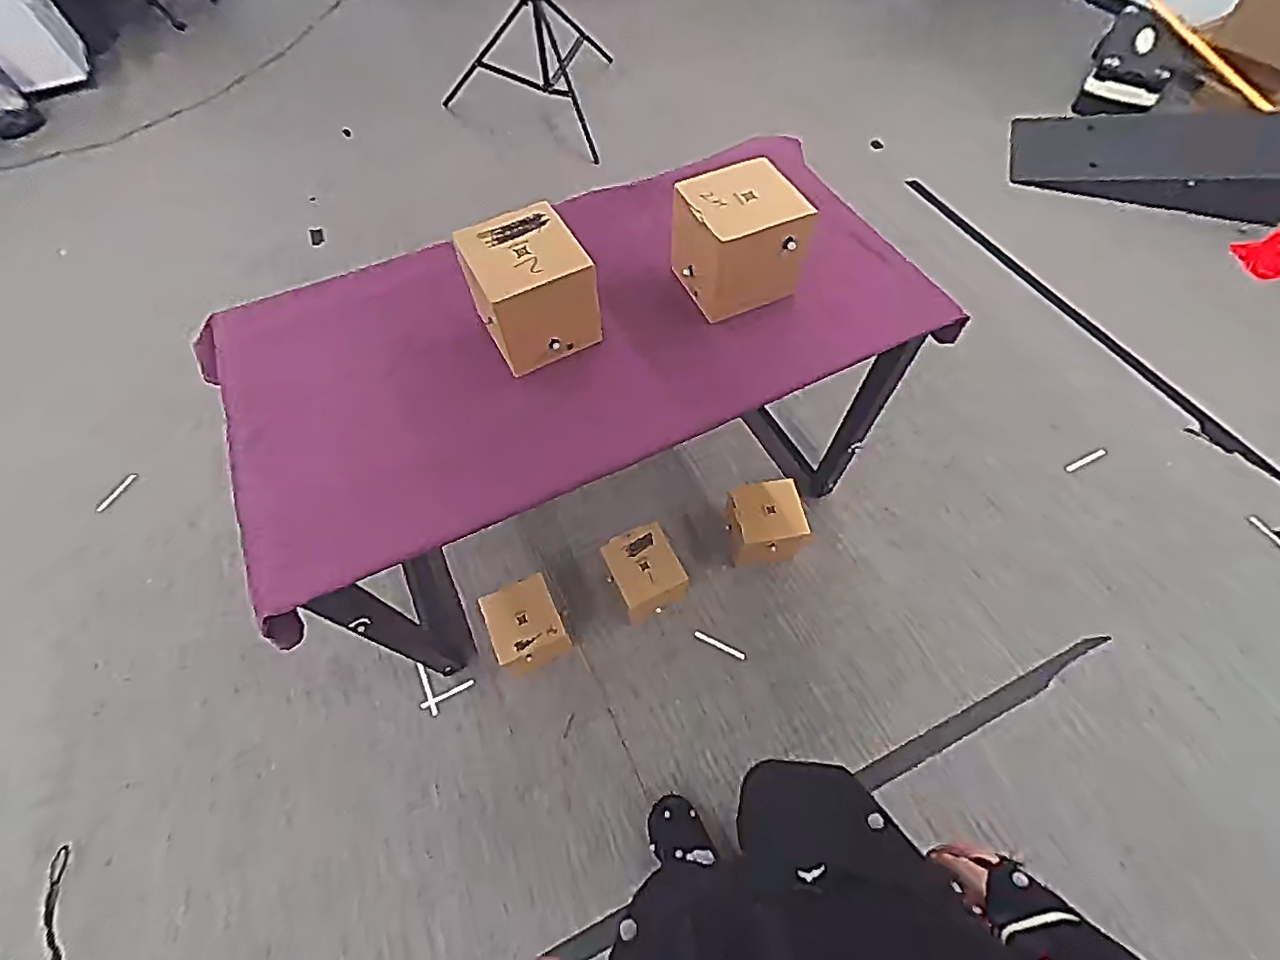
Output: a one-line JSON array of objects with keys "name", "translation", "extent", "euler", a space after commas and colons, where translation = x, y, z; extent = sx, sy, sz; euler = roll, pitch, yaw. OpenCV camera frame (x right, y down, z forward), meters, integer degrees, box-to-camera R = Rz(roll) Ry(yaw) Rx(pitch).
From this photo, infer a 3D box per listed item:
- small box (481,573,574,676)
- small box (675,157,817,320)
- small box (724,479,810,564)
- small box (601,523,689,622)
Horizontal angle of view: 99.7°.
[{"name": "small box", "translation": [-0.277, 0.365, 1.353], "extent": [0.168, 0.176, 0.179], "euler": [-22, 62, -10]}, {"name": "small box", "translation": [0.169, -0.411, 0.934], "extent": [0.179, 0.176, 0.168], "euler": [-22, 62, -10]}, {"name": "small box", "translation": [0.338, 0.117, 1.474], "extent": [0.179, 0.176, 0.168], "euler": [-9, 62, -3]}, {"name": "small box", "translation": [0.011, 0.245, 1.411], "extent": [0.168, 0.176, 0.179], "euler": [-25, 65, -11]}]
